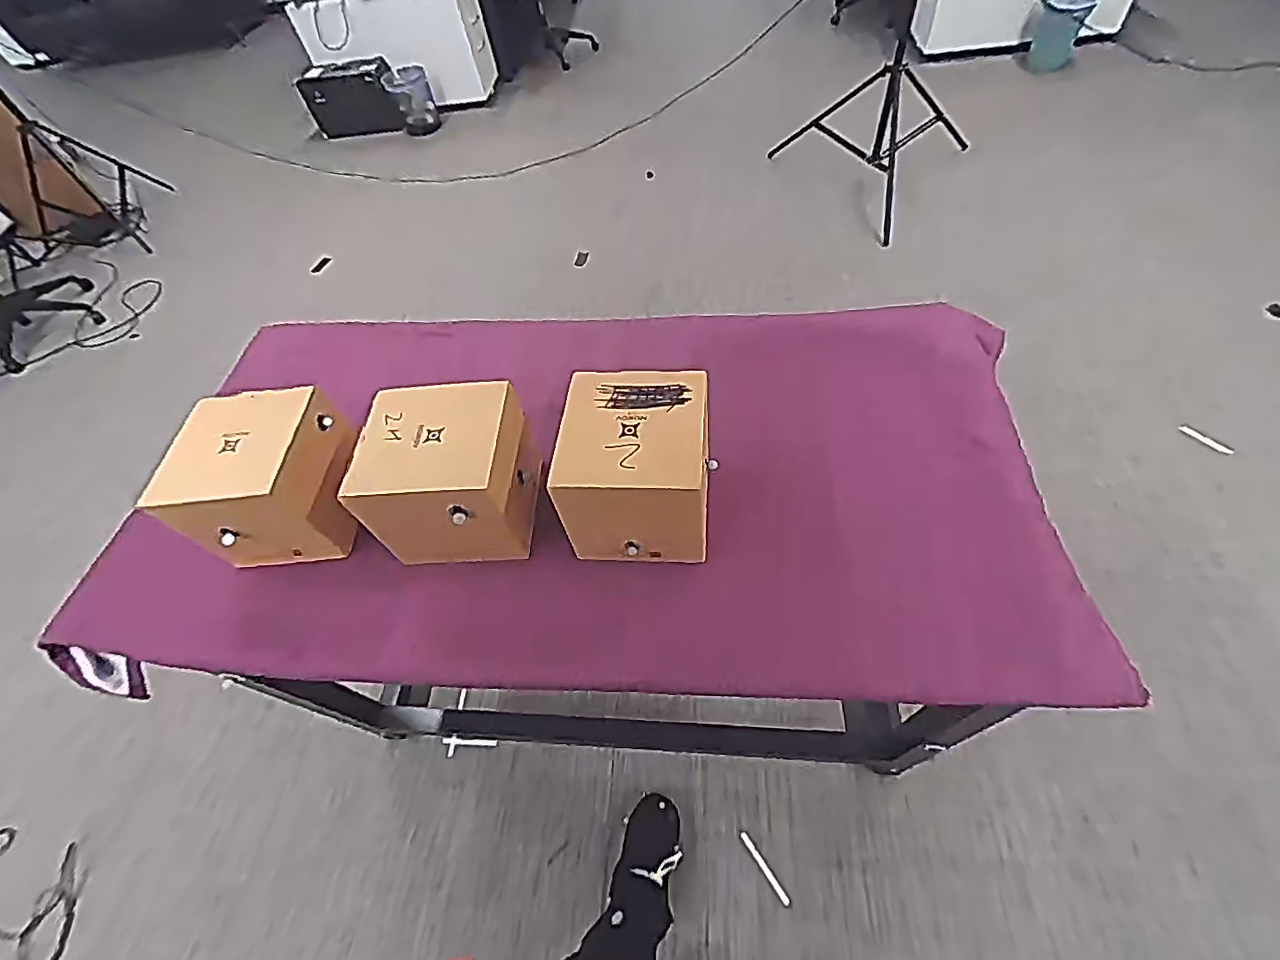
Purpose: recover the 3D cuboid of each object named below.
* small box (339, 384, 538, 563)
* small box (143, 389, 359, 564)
[{"bbox_3d":[-0.240,-0.003,0.702,0.179,0.176,0.168,-4,53,5],"label":"small box"},{"bbox_3d":[-0.494,0.004,0.736,0.168,0.176,0.179,-6,54,4],"label":"small box"}]
